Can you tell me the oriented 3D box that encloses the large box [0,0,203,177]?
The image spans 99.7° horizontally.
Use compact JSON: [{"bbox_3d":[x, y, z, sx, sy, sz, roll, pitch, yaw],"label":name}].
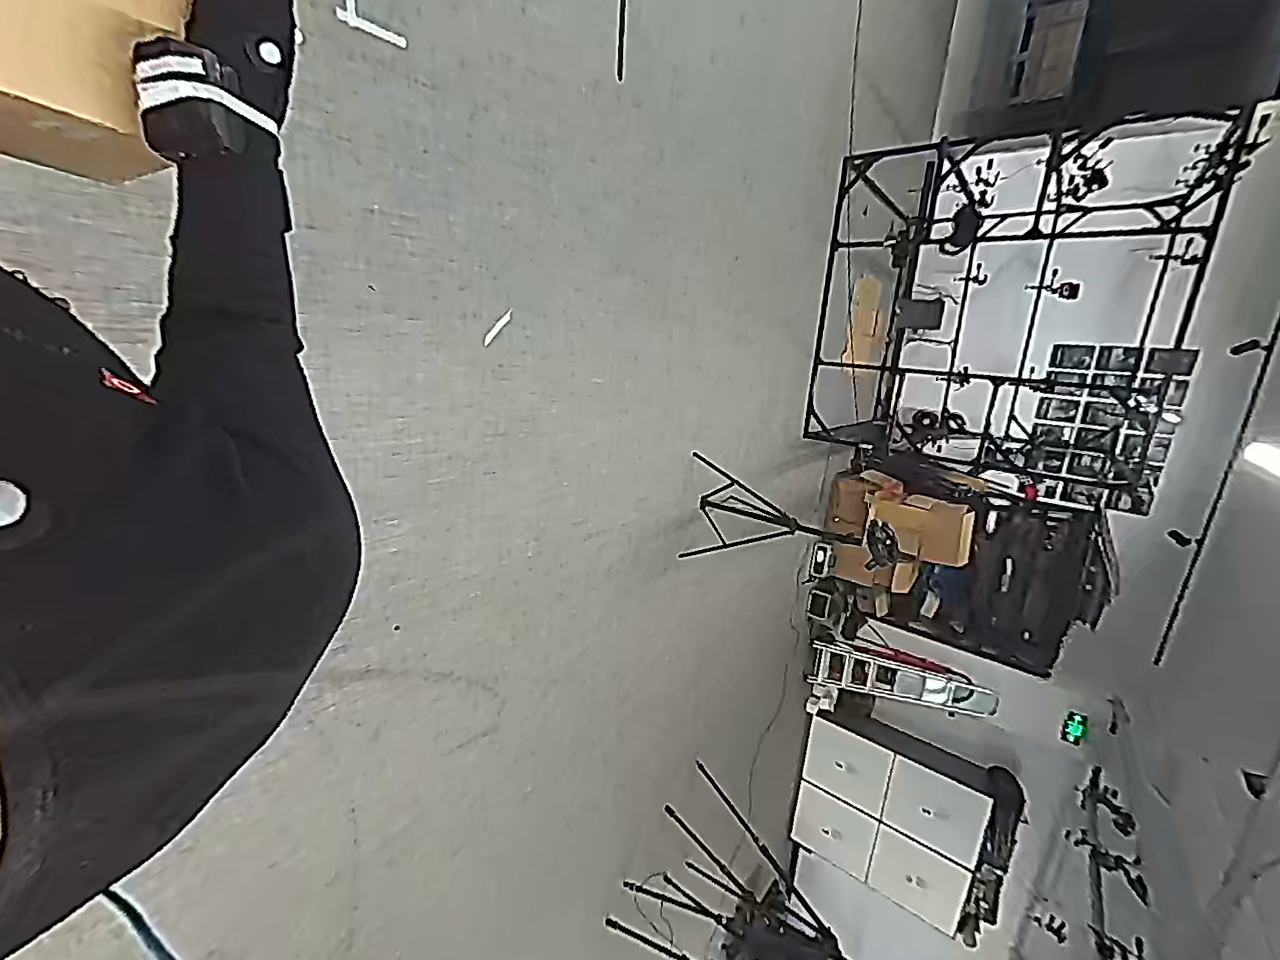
[{"bbox_3d":[-0.560,-0.431,0.324,0.408,0.320,0.320,-5,108,-54],"label":"large box"}]
